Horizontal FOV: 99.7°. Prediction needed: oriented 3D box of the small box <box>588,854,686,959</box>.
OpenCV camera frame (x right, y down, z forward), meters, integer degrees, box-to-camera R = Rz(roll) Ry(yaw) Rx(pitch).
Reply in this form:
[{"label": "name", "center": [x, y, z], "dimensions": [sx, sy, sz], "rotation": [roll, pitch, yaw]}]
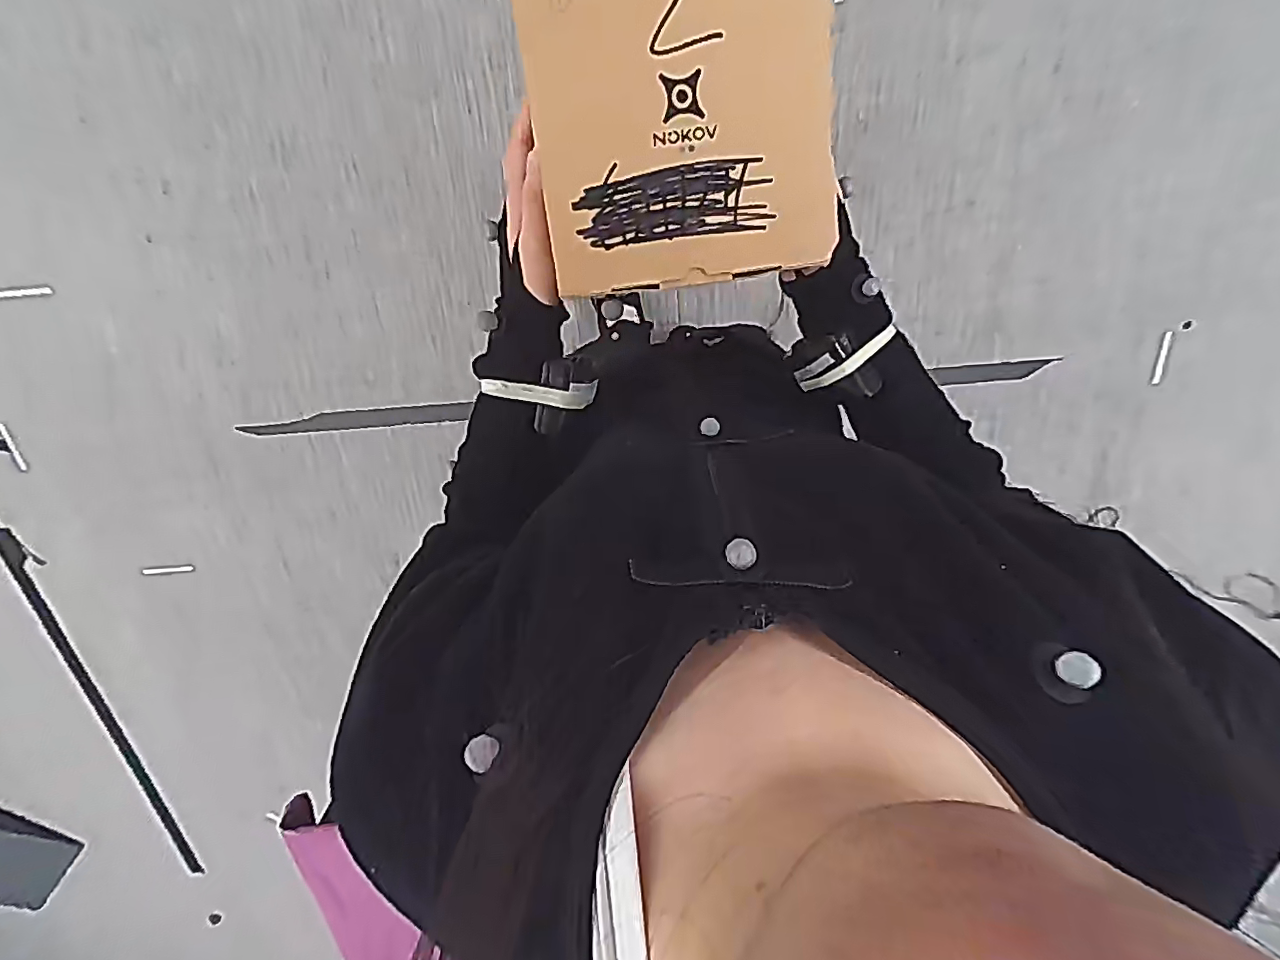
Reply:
[{"label": "small box", "center": [-0.005, 0.831, 0.995], "dimensions": [0.168, 0.176, 0.179], "rotation": [-3, 111, -2]}]
